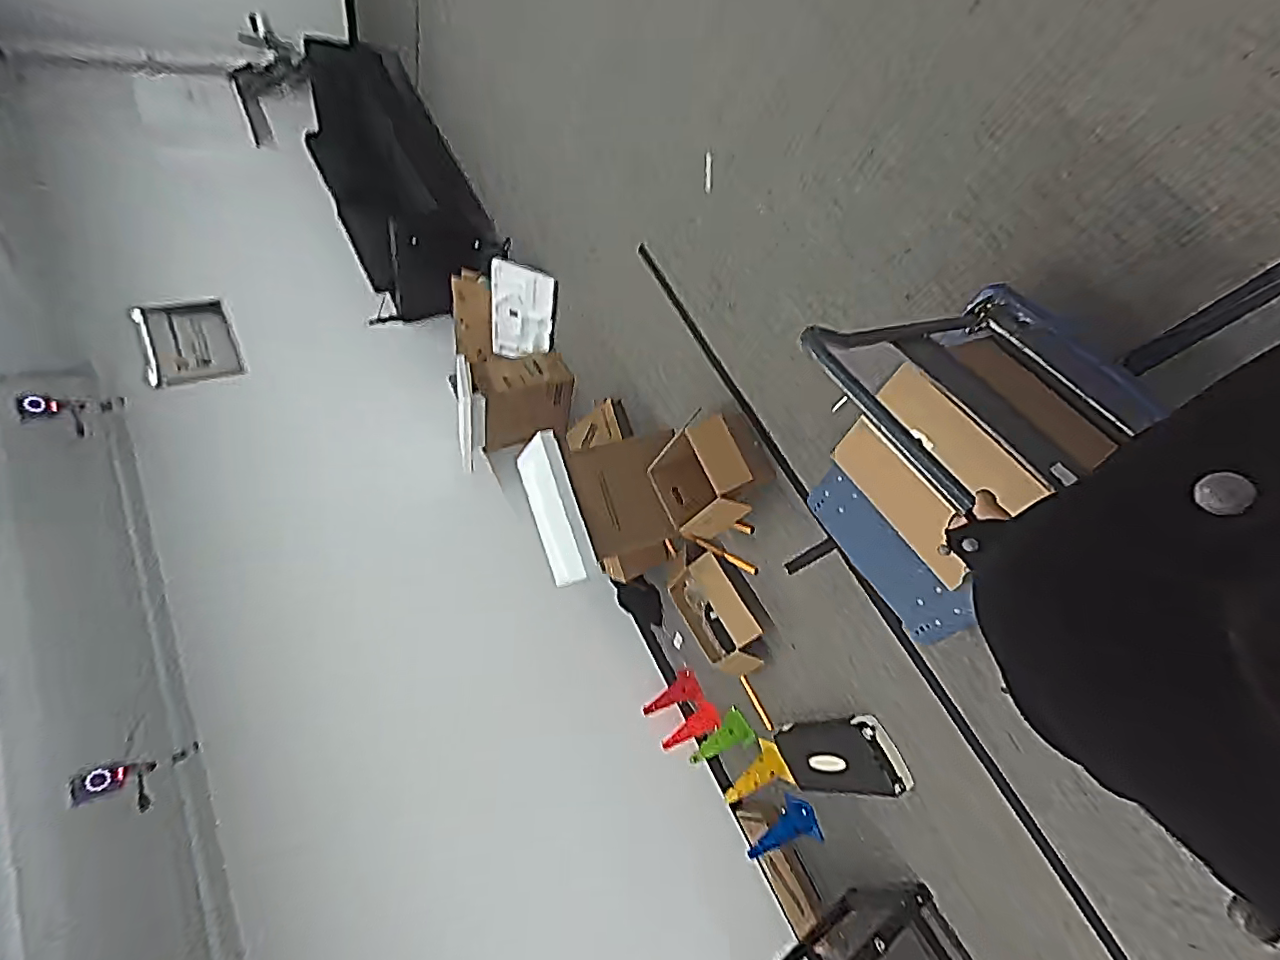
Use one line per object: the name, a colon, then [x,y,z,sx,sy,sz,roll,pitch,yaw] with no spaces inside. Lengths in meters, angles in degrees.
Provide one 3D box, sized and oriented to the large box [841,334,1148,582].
large box: [0.747,-0.058,1.191,0.408,0.320,0.320,57,148,26]
